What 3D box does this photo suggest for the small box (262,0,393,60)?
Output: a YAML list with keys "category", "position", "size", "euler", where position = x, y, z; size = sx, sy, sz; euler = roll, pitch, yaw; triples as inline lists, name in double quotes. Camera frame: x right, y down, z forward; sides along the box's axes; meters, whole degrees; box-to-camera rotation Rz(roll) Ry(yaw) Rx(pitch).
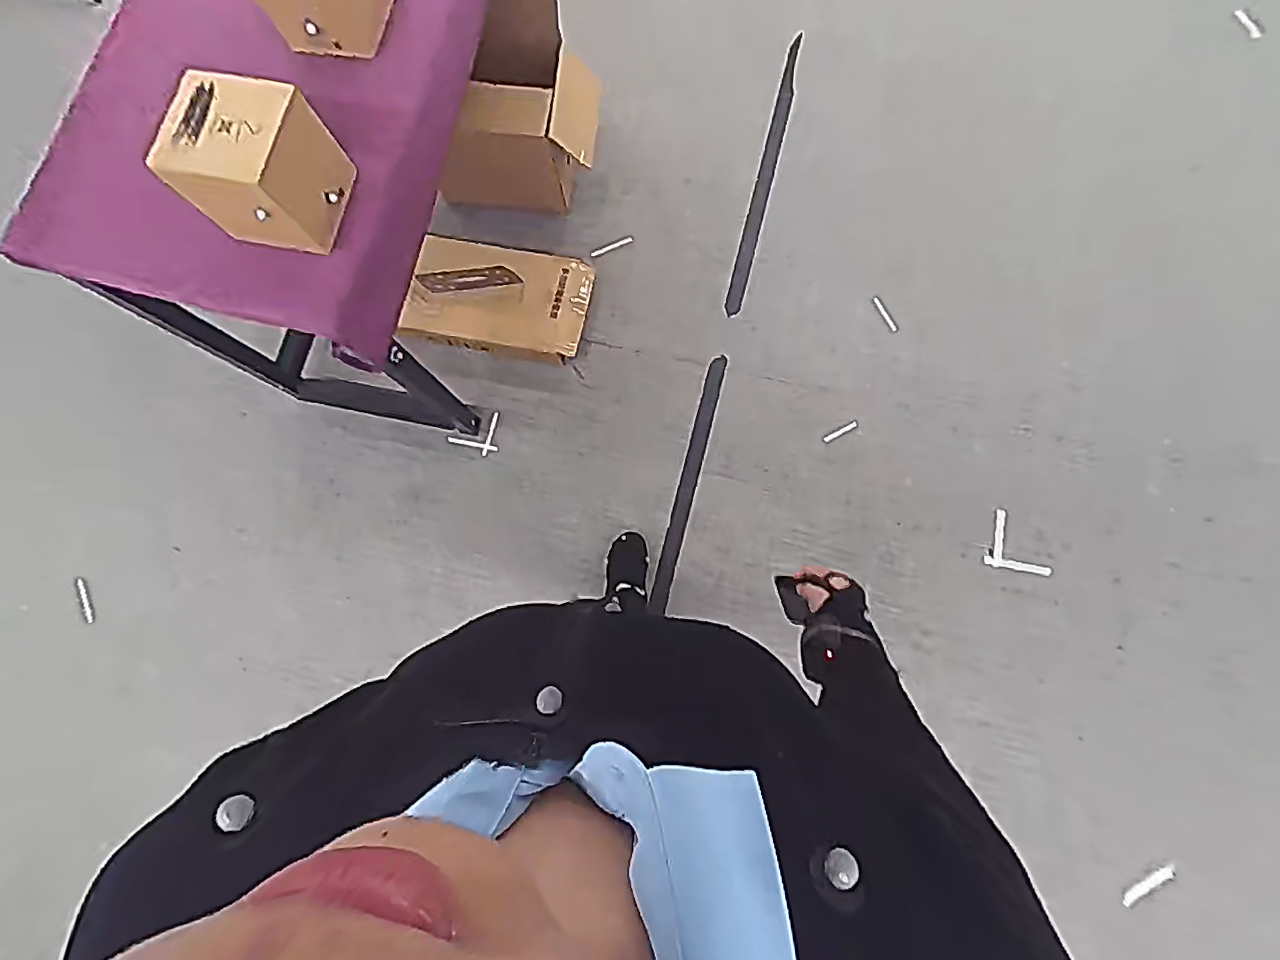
- category: "small box"
  position: [-0.547, -0.868, 0.916]
  size: [0.168, 0.176, 0.179]
  euler: [10, 79, 7]
